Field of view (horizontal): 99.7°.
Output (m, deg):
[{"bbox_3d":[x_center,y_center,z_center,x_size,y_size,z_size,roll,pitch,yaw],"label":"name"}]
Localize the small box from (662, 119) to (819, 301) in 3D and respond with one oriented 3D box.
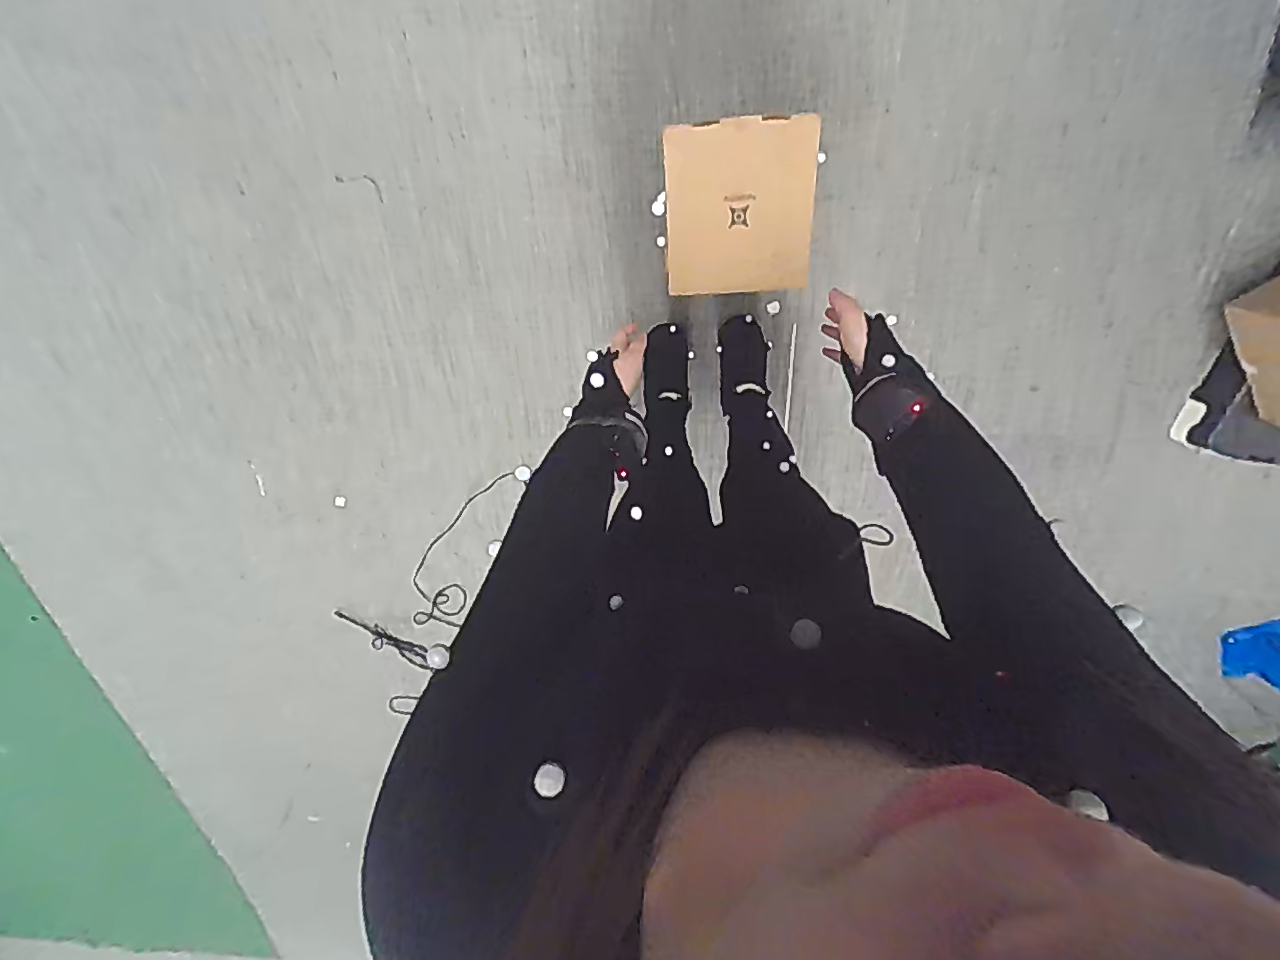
[{"bbox_3d":[0.117,-0.332,0.673,0.168,0.176,0.179,-2,117,6],"label":"small box"}]
